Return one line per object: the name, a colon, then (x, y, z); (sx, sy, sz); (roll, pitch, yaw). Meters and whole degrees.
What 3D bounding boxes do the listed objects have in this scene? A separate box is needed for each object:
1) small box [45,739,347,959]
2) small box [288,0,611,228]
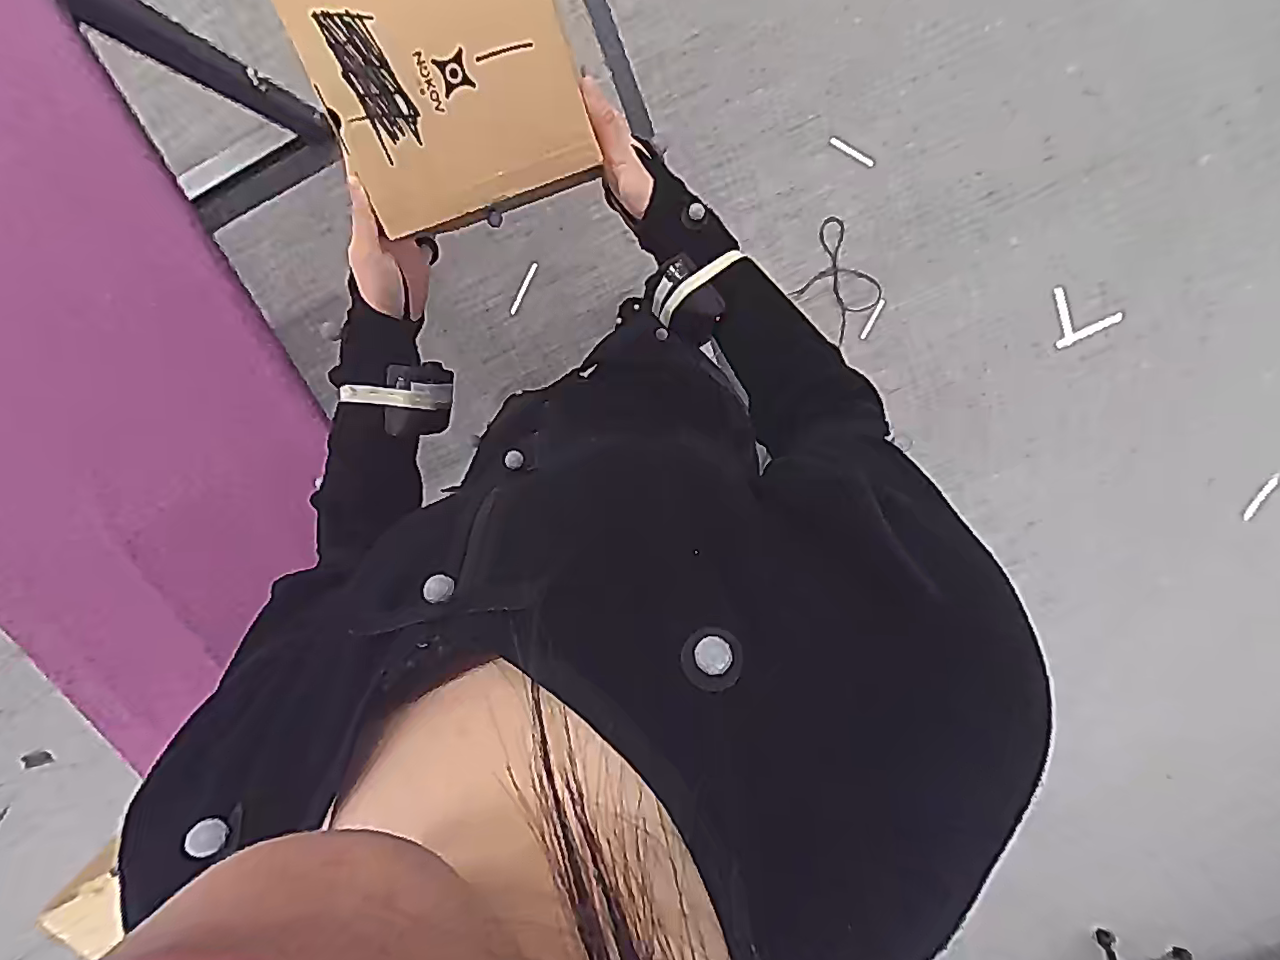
small box: (-0.499, 0.441, 0.640); (0.168, 0.176, 0.179); (-28, 106, 8)
small box: (-0.130, -0.318, 0.440); (0.179, 0.176, 0.168); (-15, 117, 7)
